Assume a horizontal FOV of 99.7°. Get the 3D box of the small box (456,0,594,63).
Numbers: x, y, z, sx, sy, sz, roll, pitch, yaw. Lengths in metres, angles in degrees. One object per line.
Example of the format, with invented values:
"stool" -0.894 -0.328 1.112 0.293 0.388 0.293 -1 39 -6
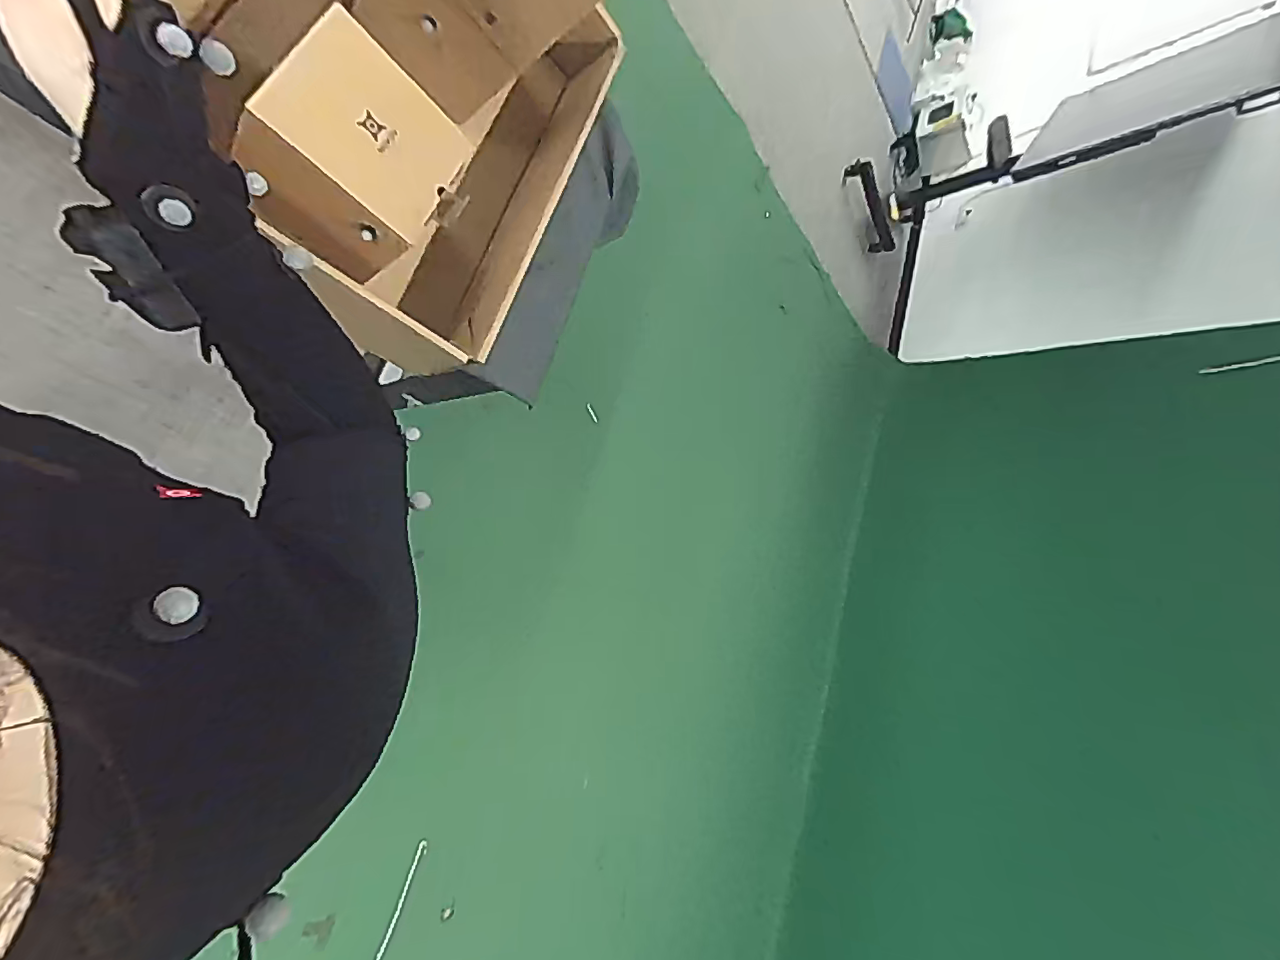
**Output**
"small box" -0.125 -0.630 0.602 0.168 0.176 0.179 34 70 -42
